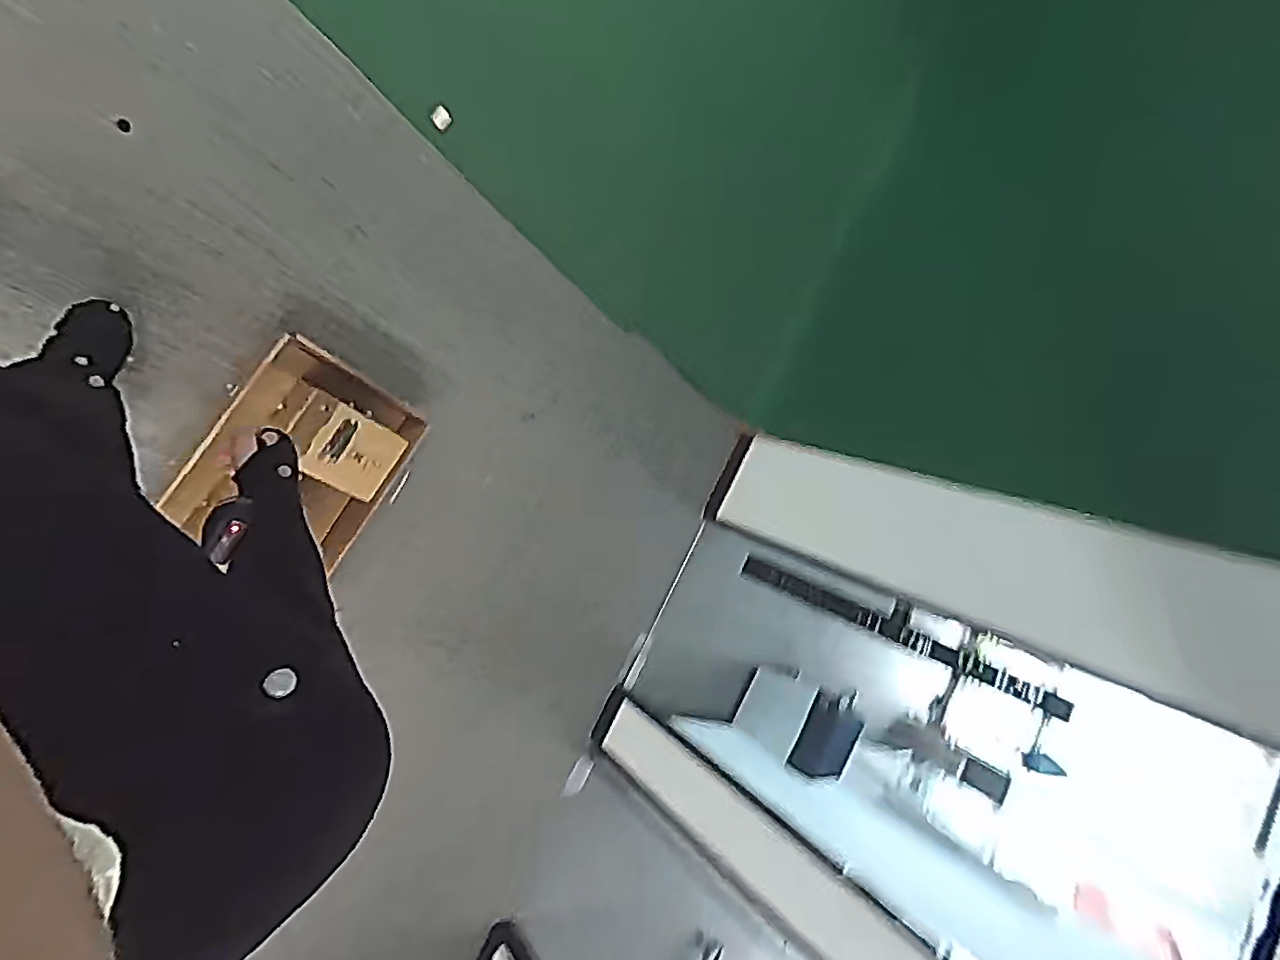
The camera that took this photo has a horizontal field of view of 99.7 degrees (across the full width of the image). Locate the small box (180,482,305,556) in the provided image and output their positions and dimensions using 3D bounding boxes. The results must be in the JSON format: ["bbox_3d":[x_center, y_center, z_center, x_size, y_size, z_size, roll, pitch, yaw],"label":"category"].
[{"bbox_3d":[-0.954,0.124,1.296,0.179,0.176,0.168,43,75,-44],"label":"small box"}]

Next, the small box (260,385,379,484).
[{"bbox_3d":[-0.800,-0.118,1.348,0.179,0.176,0.168,42,76,-45],"label":"small box"}]

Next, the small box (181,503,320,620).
[{"bbox_3d":[-0.848,0.172,1.178,0.168,0.176,0.179,-57,136,-12],"label":"small box"}]
